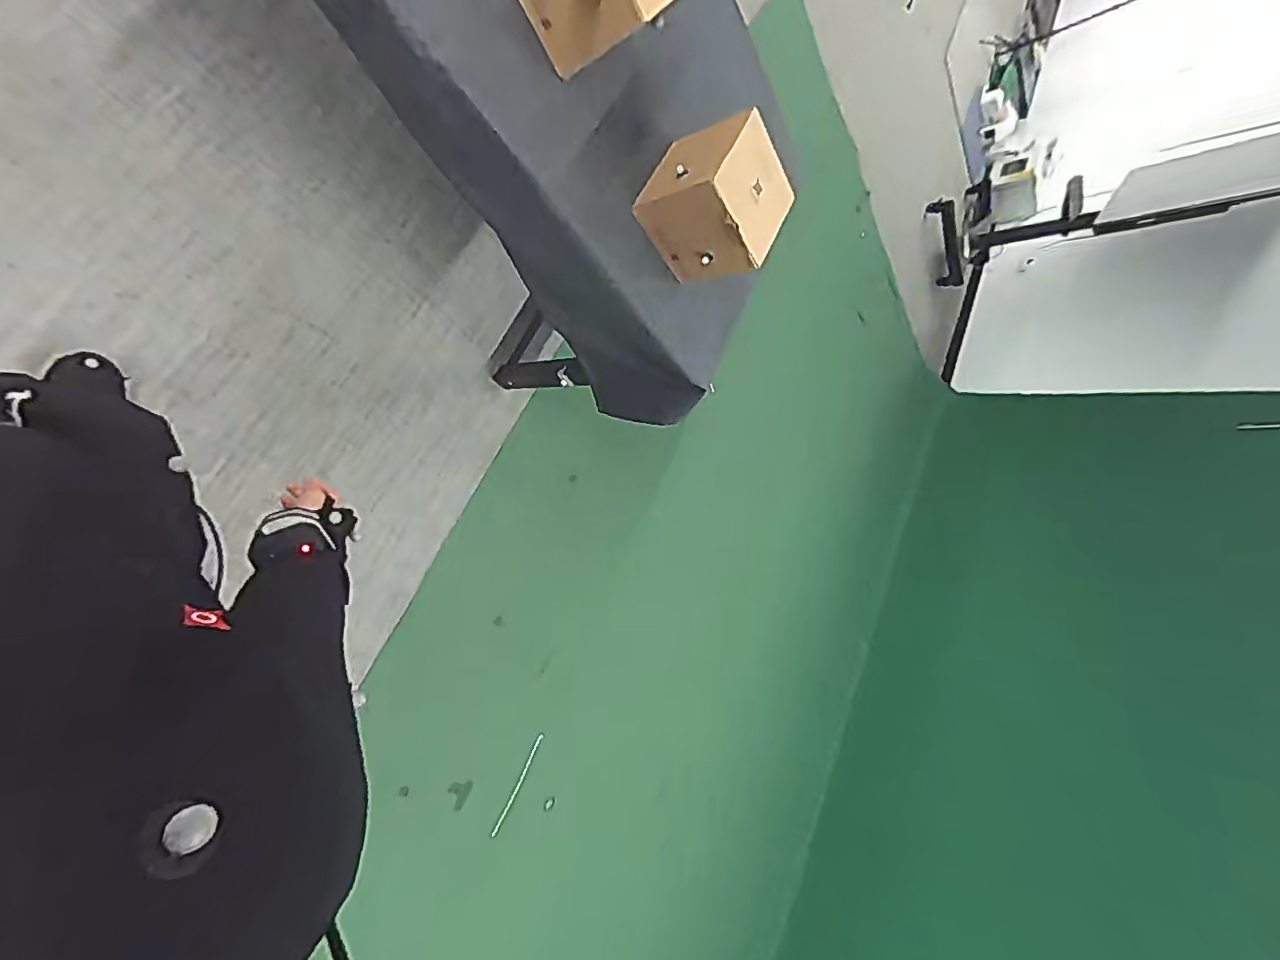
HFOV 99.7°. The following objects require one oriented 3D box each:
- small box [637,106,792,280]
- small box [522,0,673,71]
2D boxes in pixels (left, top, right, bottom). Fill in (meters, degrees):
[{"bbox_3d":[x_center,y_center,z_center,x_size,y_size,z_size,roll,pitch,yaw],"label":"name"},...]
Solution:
[{"bbox_3d":[0.120,-0.457,0.889,0.168,0.176,0.179,44,63,-42],"label":"small box"},{"bbox_3d":[-0.048,-0.670,0.683,0.179,0.176,0.168,-57,132,-24],"label":"small box"}]
